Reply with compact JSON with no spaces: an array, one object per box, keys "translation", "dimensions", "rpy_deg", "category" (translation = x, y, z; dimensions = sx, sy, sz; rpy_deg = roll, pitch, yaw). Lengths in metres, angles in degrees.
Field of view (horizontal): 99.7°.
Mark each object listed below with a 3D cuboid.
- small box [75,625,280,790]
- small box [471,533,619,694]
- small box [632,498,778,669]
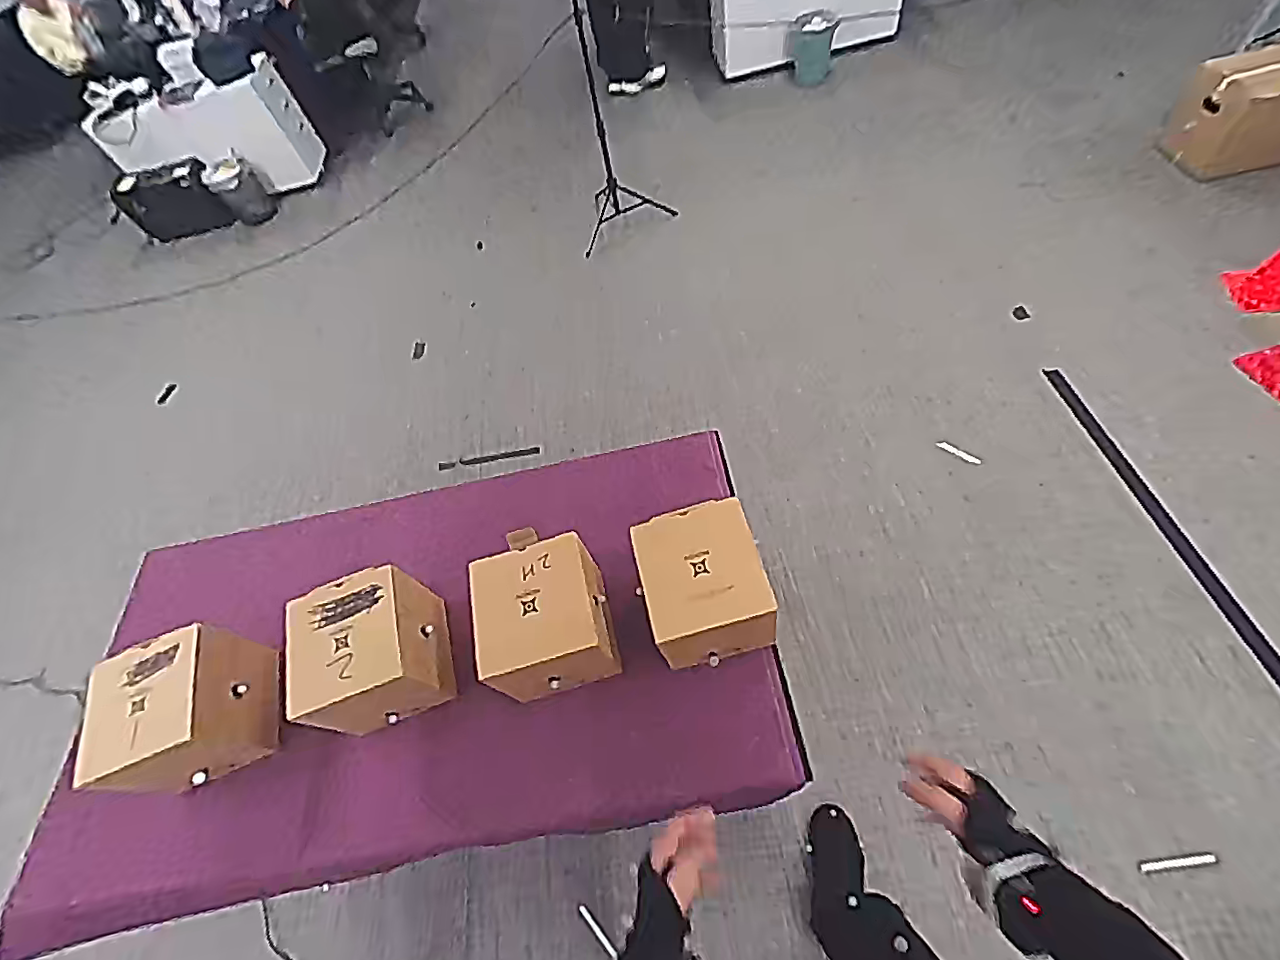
[{"translation":[-0.692,0.356,0.836],"dimensions":[0.168,0.176,0.179],"rpy_deg":[-23,58,-3],"category":"small box"},{"translation":[-0.138,0.211,0.816],"dimensions":[0.168,0.176,0.179],"rpy_deg":[-17,57,0],"category":"small box"},{"translation":[0.095,0.158,0.801],"dimensions":[0.168,0.176,0.179],"rpy_deg":[-16,56,3],"category":"small box"}]
